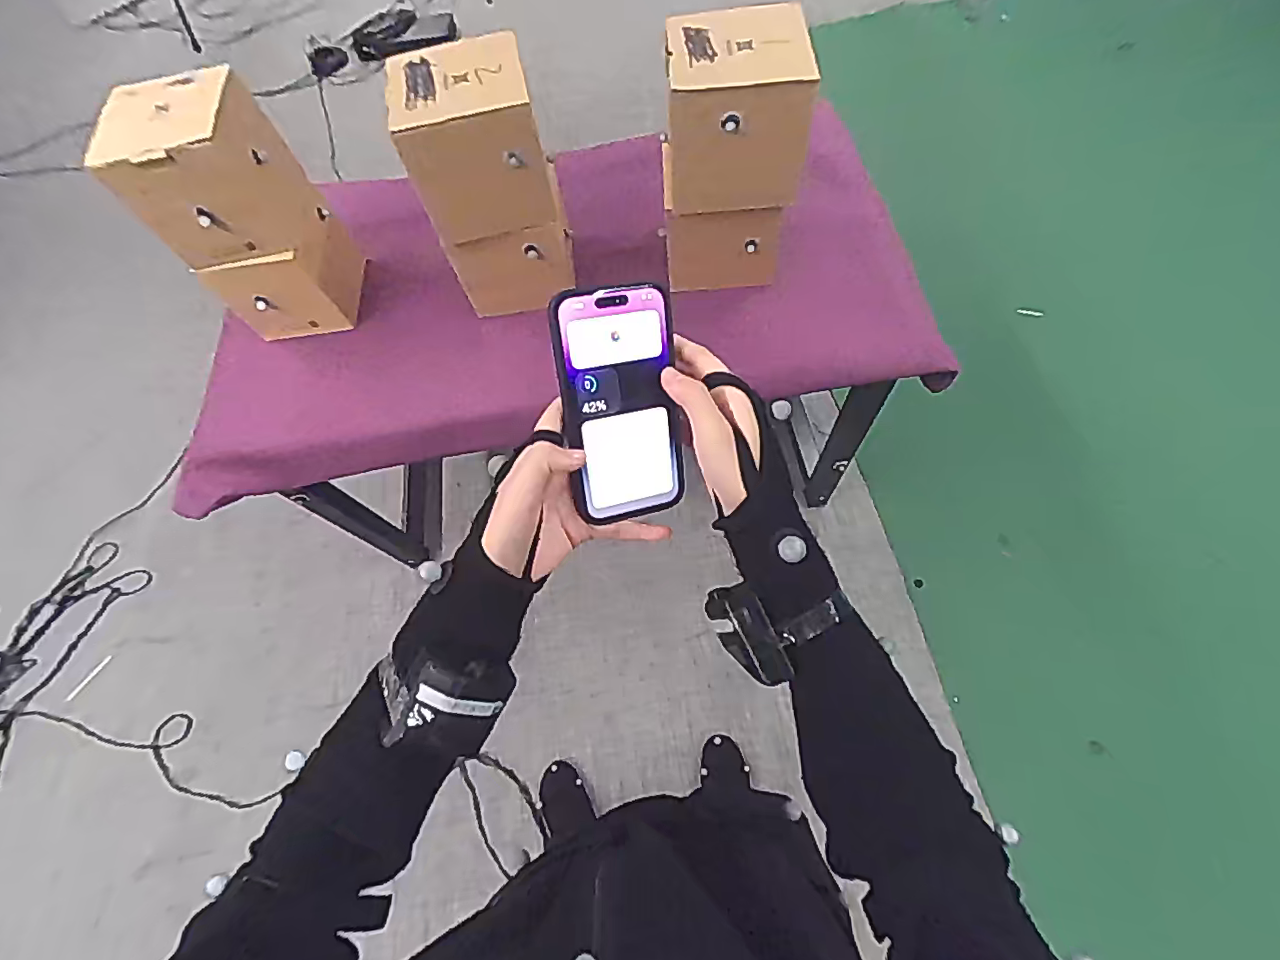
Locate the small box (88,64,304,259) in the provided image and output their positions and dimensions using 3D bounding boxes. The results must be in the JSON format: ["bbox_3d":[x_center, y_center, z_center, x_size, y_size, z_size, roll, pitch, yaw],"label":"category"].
[{"bbox_3d":[-0.617,-0.444,0.779,0.168,0.176,0.179,-12,65,0],"label":"small box"}]

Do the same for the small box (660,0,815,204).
[{"bbox_3d":[0.121,-0.498,0.726,0.179,0.176,0.168,-3,65,4],"label":"small box"}]

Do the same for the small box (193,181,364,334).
[{"bbox_3d":[-0.600,-0.367,0.924,0.168,0.176,0.179,-8,65,2],"label":"small box"}]

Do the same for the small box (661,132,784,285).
[{"bbox_3d":[0.127,-0.442,0.881,0.179,0.176,0.168,-3,65,6],"label":"small box"}]

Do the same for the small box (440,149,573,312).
[{"bbox_3d":[-0.211,-0.406,0.898,0.179,0.176,0.168,-8,65,2],"label":"small box"}]
